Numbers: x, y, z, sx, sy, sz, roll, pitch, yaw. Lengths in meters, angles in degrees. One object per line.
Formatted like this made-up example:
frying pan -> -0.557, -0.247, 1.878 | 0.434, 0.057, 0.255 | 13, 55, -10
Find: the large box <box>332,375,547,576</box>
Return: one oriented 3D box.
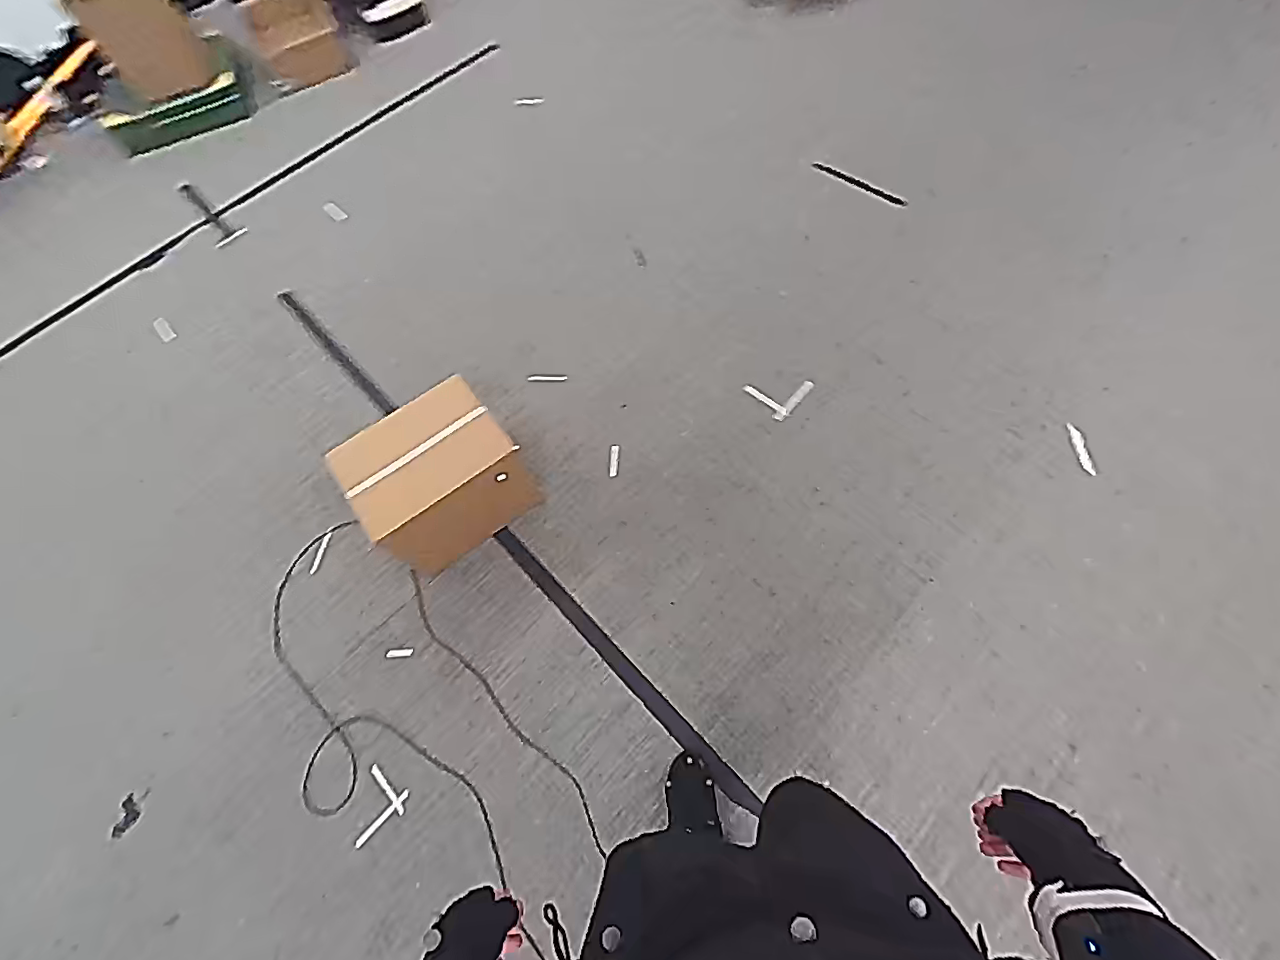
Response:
large box -> -0.531, -0.004, 1.499 | 0.408, 0.320, 0.320 | -36, 66, -12
